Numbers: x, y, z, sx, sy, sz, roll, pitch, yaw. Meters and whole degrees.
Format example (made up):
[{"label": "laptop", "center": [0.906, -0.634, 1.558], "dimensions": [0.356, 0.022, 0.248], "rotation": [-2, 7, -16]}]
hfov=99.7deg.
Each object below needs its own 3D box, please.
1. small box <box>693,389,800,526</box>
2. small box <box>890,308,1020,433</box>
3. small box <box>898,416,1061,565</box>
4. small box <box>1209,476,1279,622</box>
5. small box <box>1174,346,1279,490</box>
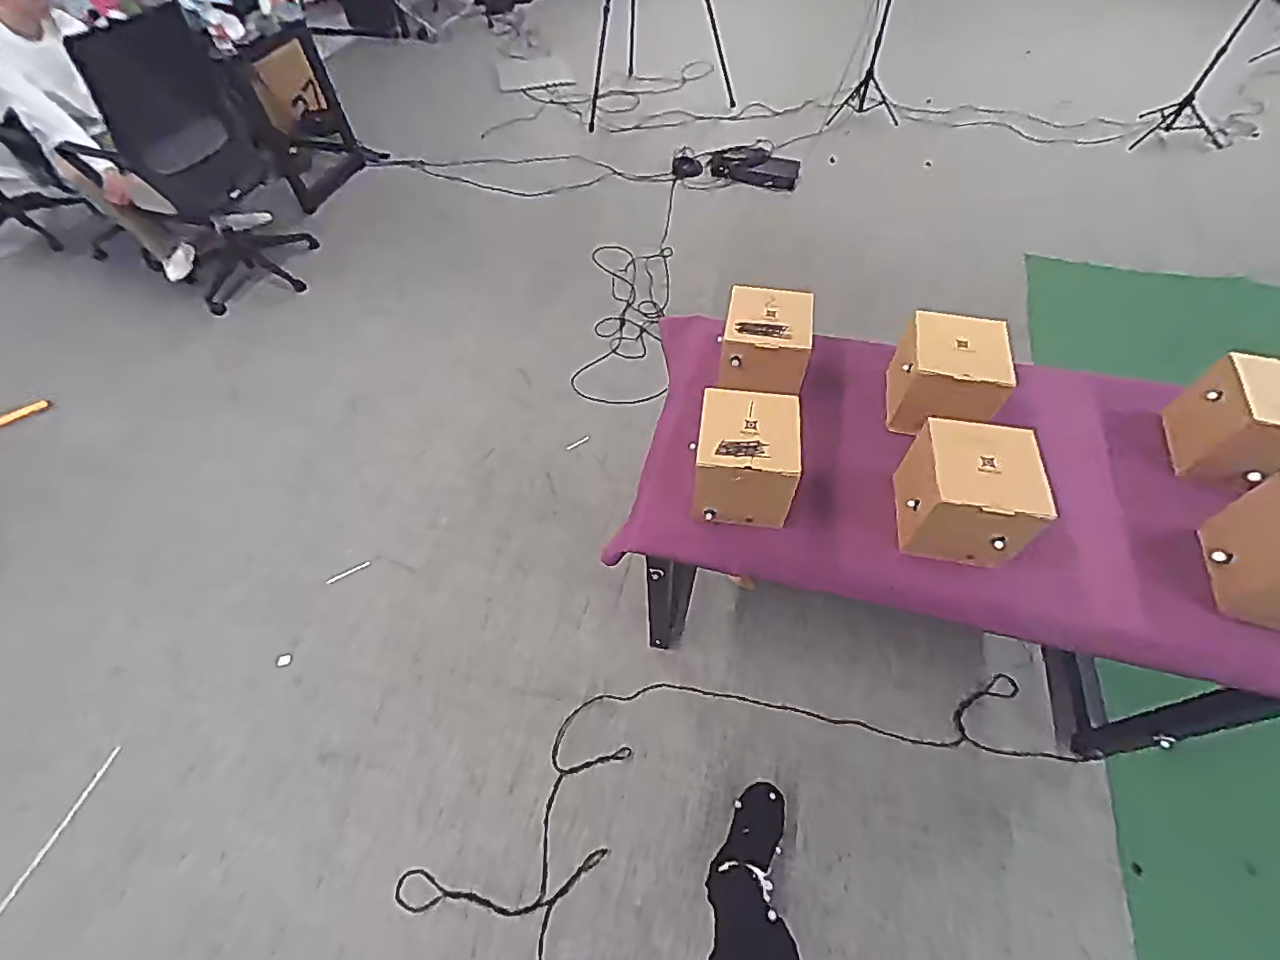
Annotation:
[{"label": "small box", "center": [0.185, -0.036, 0.953], "dimensions": [0.168, 0.176, 0.179], "rotation": [6, 54, 7]}, {"label": "small box", "center": [0.599, -0.203, 1.053], "dimensions": [0.168, 0.176, 0.179], "rotation": [10, 57, 10]}, {"label": "small box", "center": [0.545, 0.022, 0.896], "dimensions": [0.168, 0.176, 0.179], "rotation": [8, 54, 9]}, {"label": "small box", "center": [1.016, 0.115, 0.801], "dimensions": [0.168, 0.176, 0.179], "rotation": [15, 56, 14]}, {"label": "small box", "center": [1.099, -0.102, 0.950], "dimensions": [0.168, 0.176, 0.179], "rotation": [15, 58, 14]}]
